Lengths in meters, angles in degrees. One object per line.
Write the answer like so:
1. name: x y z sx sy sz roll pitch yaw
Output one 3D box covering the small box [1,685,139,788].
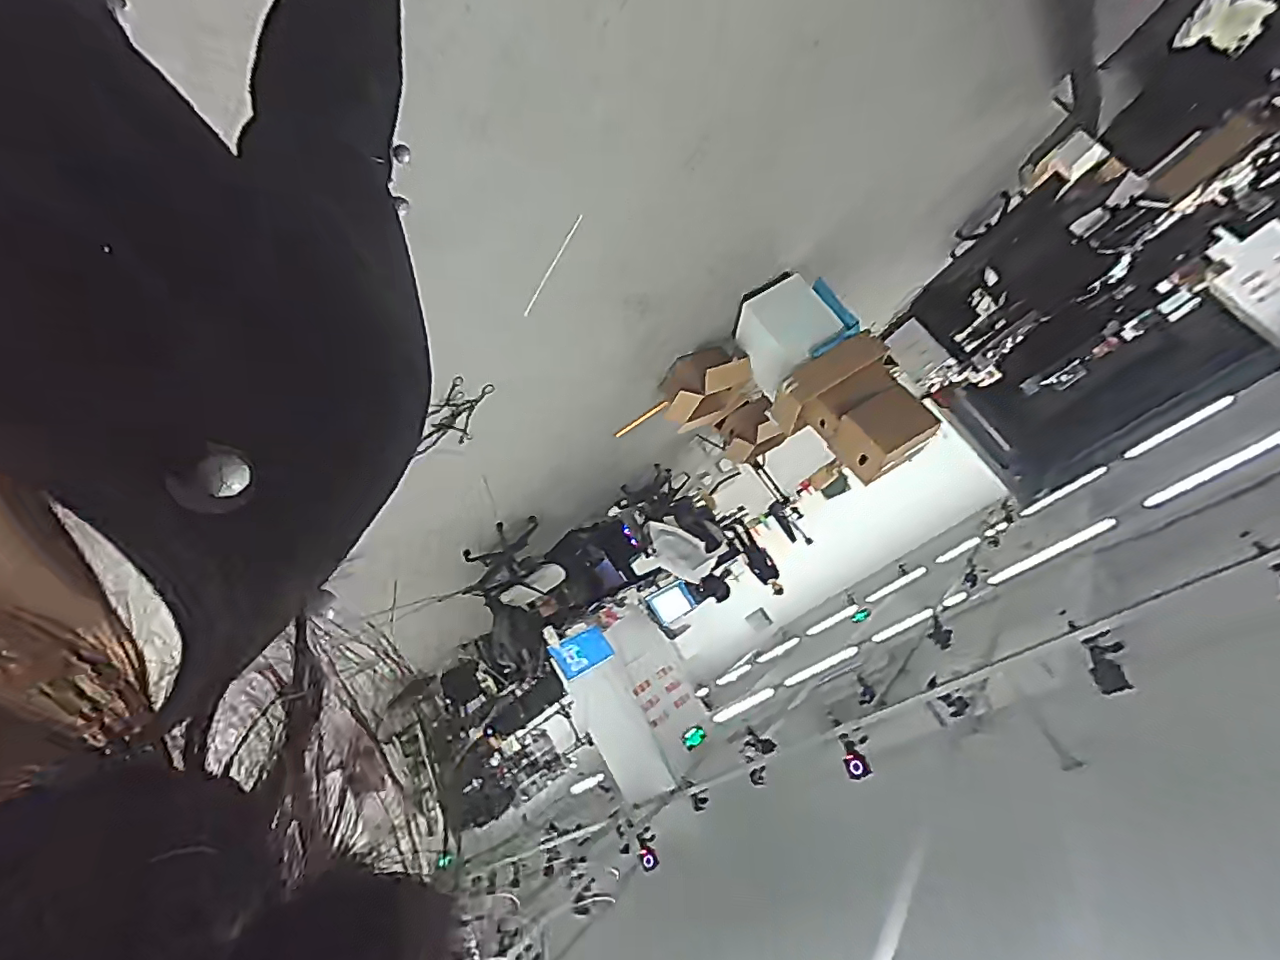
1. small box: -1.437 0.645 1.369 0.179 0.176 0.168 -25 163 -29
